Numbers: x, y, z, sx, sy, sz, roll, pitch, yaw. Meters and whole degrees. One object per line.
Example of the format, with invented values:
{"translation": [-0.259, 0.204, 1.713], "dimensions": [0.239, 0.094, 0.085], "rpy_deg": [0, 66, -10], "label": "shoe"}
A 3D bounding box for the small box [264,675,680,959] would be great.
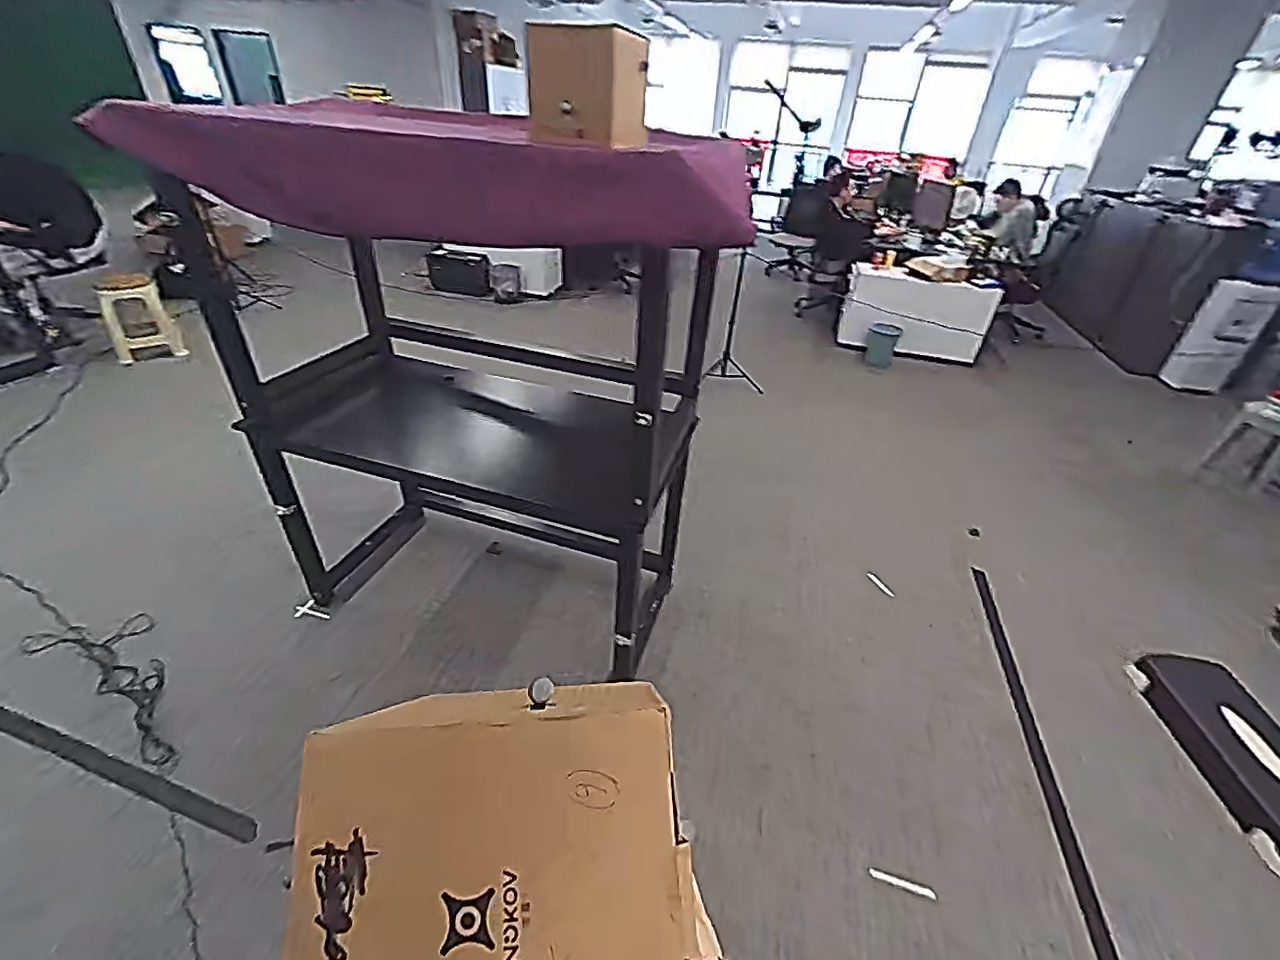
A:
{"translation": [-0.077, 0.208, 0.313], "dimensions": [0.179, 0.176, 0.168], "rpy_deg": [-2, 73, -4], "label": "small box"}

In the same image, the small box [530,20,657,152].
{"translation": [-0.081, -0.692, 0.961], "dimensions": [0.168, 0.176, 0.179], "rpy_deg": [14, 35, 15], "label": "small box"}
